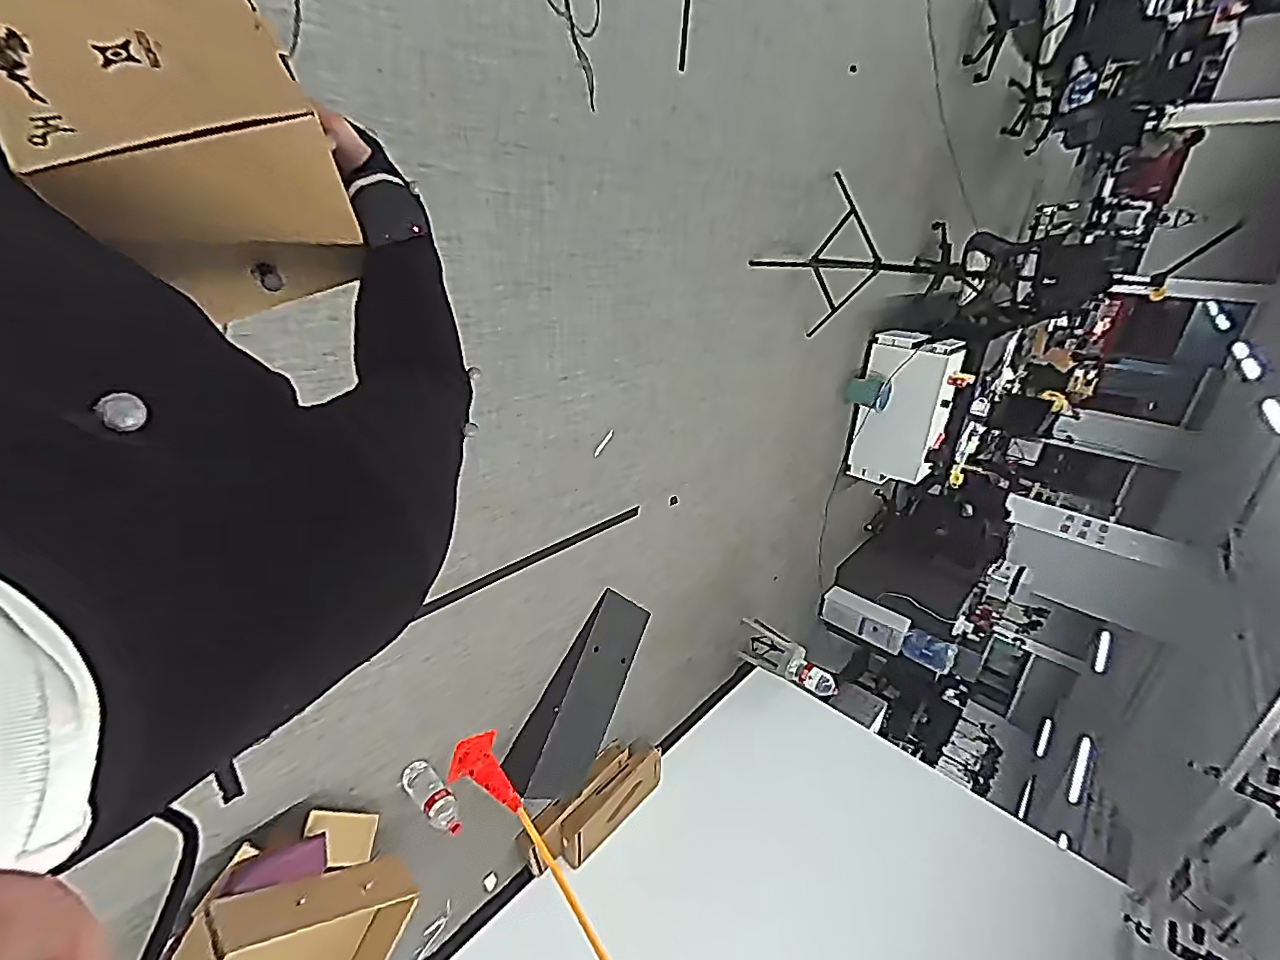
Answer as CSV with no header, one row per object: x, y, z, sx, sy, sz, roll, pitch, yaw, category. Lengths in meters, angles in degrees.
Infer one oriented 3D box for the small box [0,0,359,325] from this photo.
-0.365,-0.266,0.459,0.179,0.168,0.176,-28,168,-20,small box
